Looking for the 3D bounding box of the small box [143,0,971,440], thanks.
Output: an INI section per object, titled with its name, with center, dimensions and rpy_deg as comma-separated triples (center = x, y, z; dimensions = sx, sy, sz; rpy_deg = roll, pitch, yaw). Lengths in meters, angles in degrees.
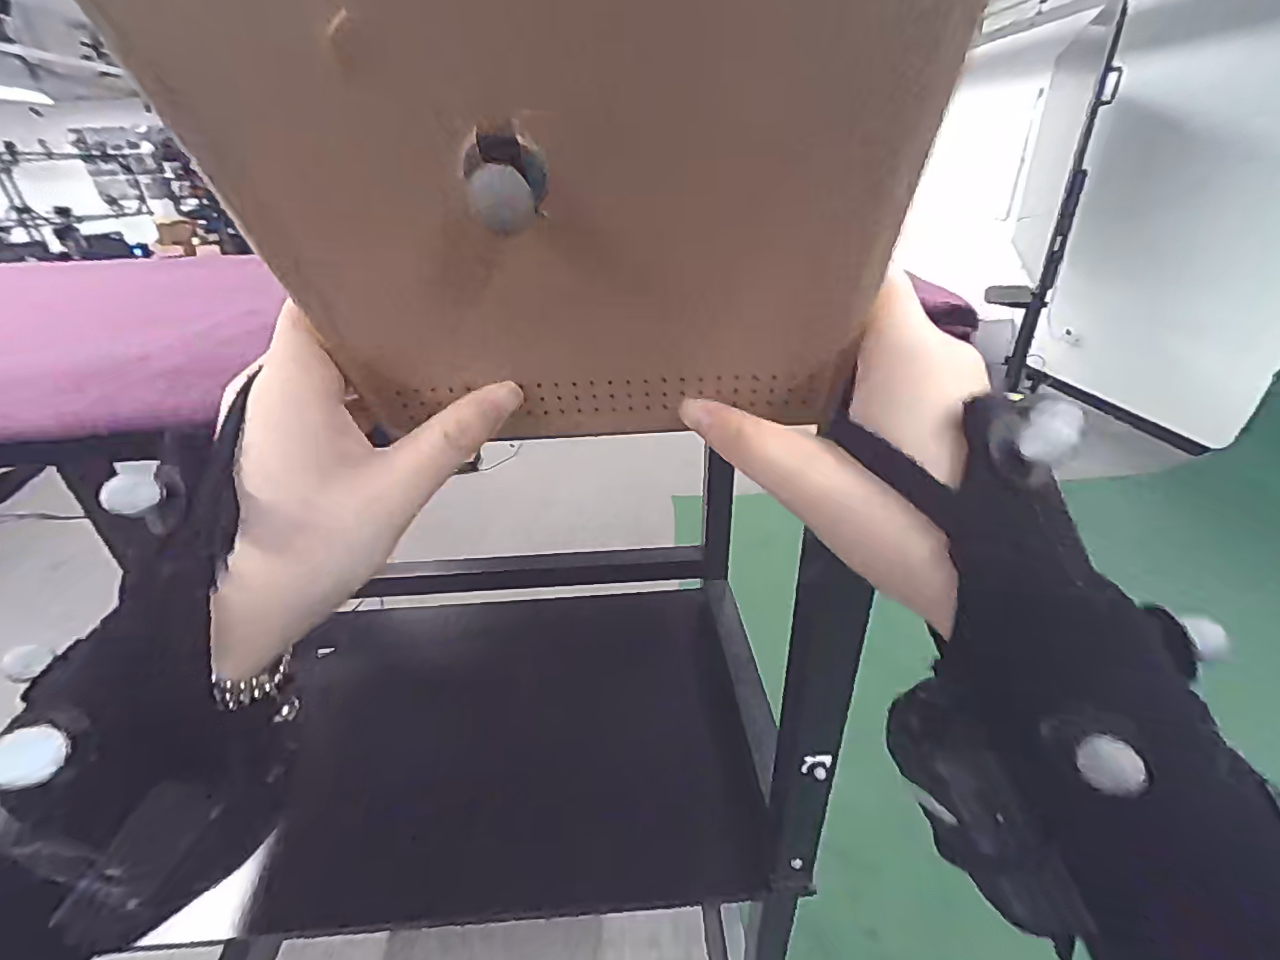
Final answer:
[small box]
center = -0.012, -0.126, 0.188
dimensions = 0.179, 0.176, 0.168
rpy_deg = -2, 57, 3
